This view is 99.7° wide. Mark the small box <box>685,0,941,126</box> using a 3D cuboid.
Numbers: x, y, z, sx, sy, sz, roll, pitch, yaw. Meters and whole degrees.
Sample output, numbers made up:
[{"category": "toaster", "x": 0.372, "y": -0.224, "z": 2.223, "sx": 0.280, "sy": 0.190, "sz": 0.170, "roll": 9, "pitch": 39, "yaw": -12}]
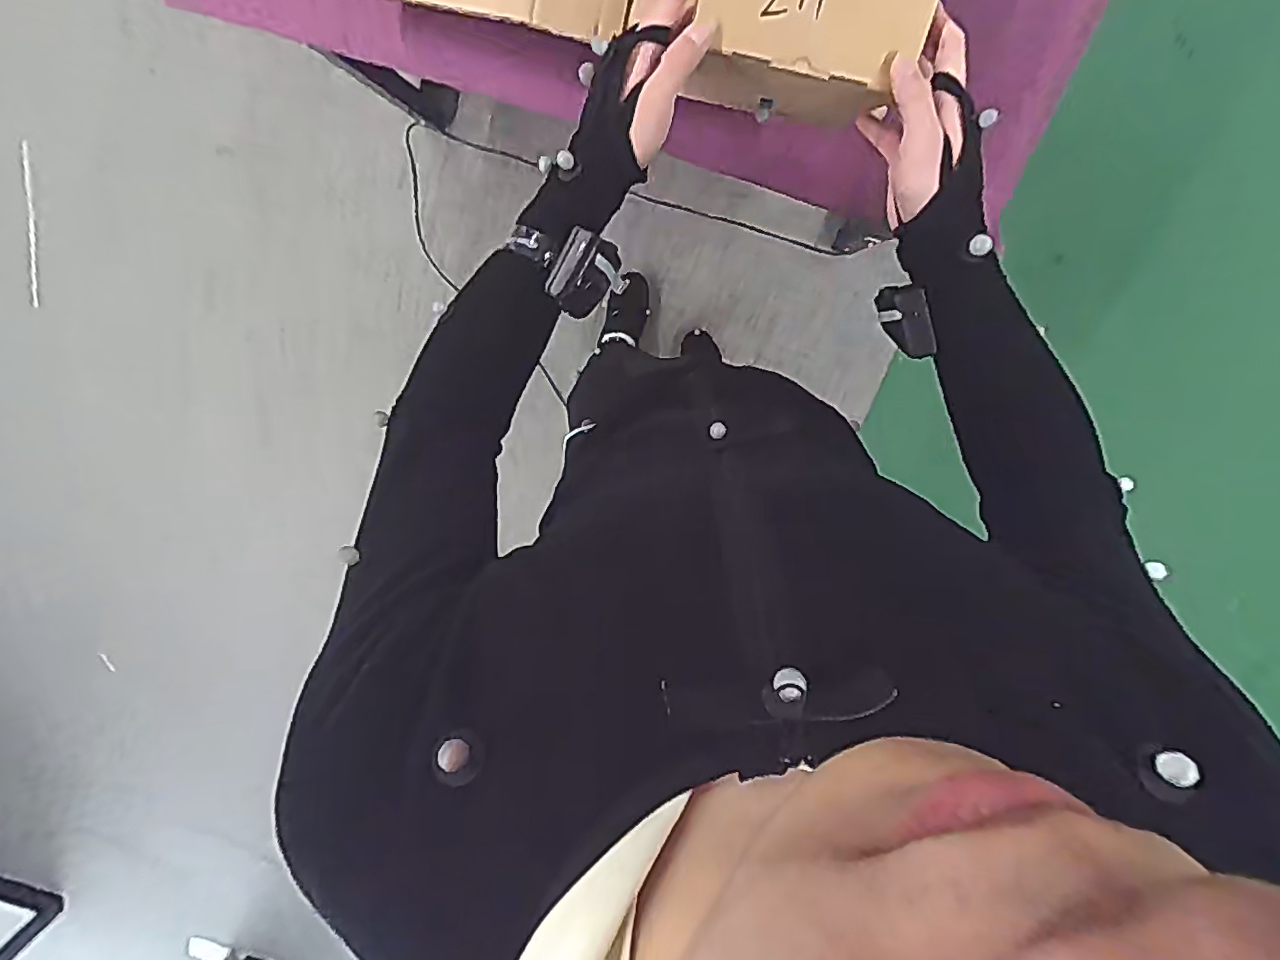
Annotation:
[{"category": "small box", "x": 0.134, "y": -0.408, "z": 0.425, "sx": 0.168, "sy": 0.176, "sz": 0.179, "roll": 10, "pitch": 115, "yaw": -4}]
